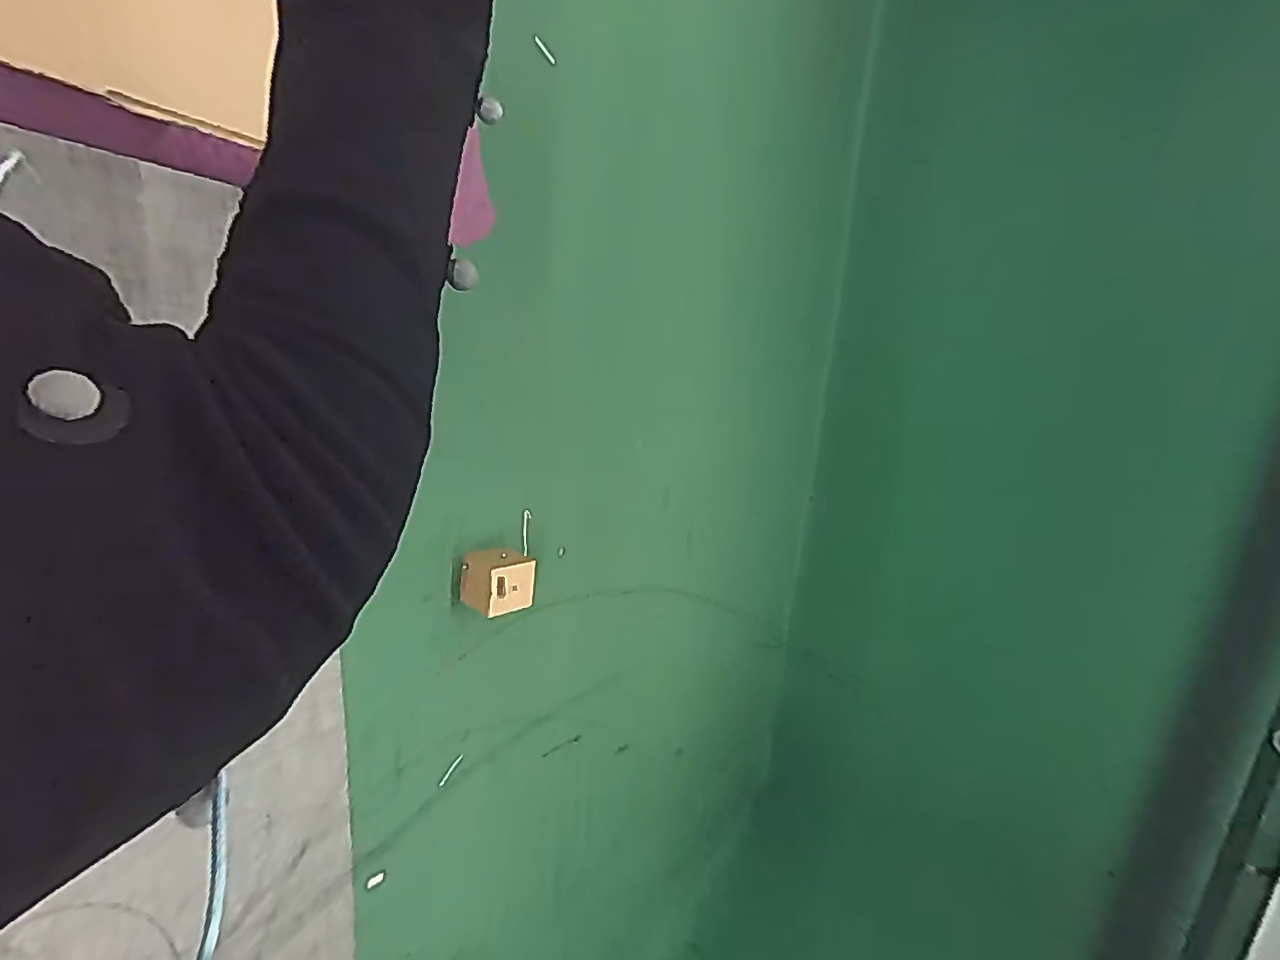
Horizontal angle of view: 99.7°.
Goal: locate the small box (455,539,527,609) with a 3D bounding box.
[{"bbox_3d":[-0.503,0.309,1.817,0.179,0.176,0.168,-9,109,-48],"label":"small box"}]
